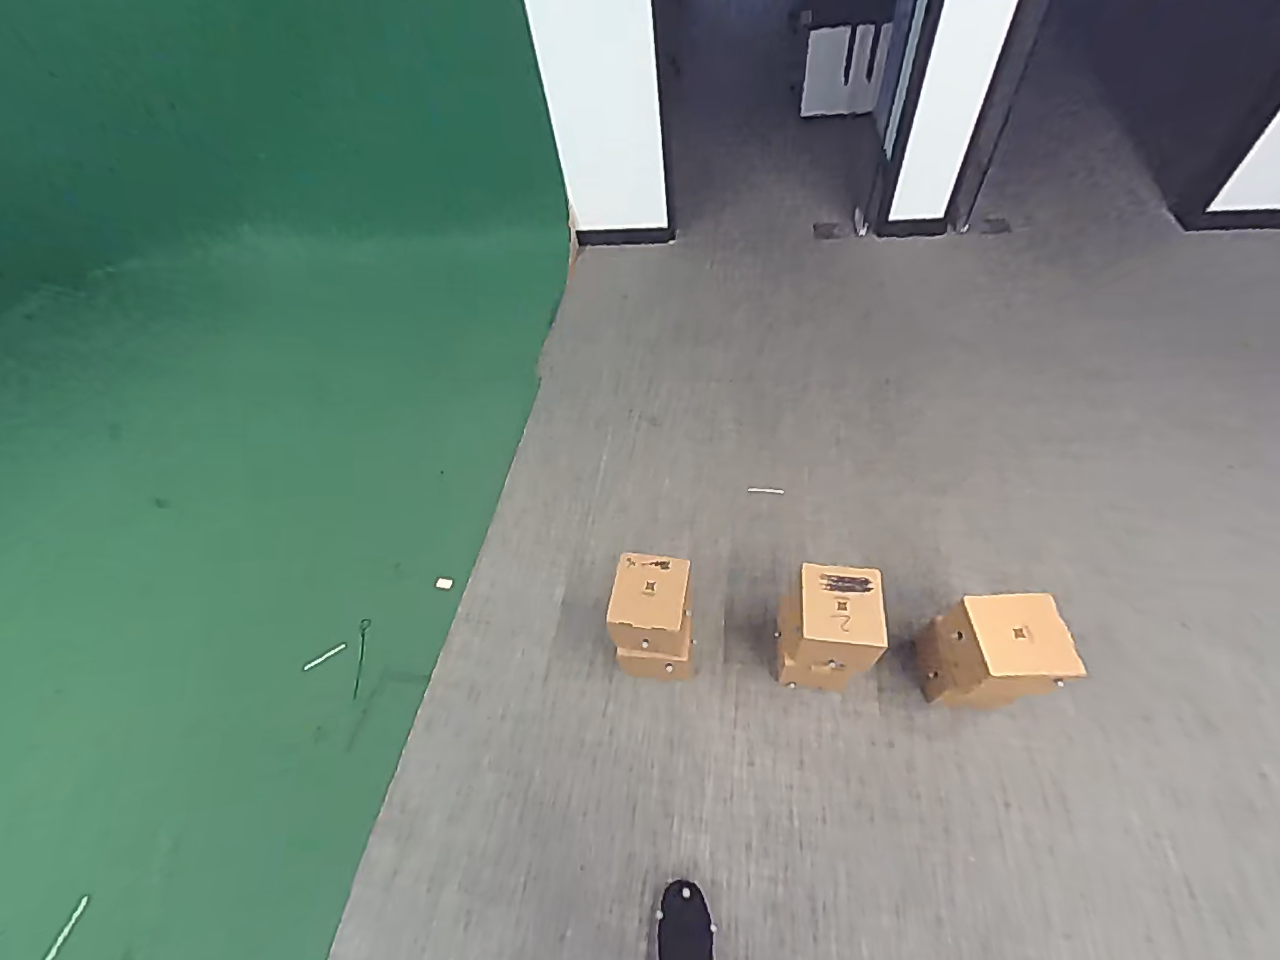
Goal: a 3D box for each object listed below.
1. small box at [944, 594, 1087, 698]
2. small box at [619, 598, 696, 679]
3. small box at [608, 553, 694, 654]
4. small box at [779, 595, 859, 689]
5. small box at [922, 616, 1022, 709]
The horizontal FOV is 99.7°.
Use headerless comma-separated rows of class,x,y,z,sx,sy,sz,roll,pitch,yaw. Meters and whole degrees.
small box,0.765,0.352,1.132,0.179,0.176,0.168,-3,55,6
small box,0.054,0.407,1.401,0.179,0.176,0.168,2,54,10
small box,0.034,0.296,1.280,0.168,0.176,0.179,6,56,12
small box,0.438,0.406,1.344,0.168,0.176,0.179,3,54,10
small box,0.784,0.433,1.272,0.179,0.176,0.168,1,56,9
